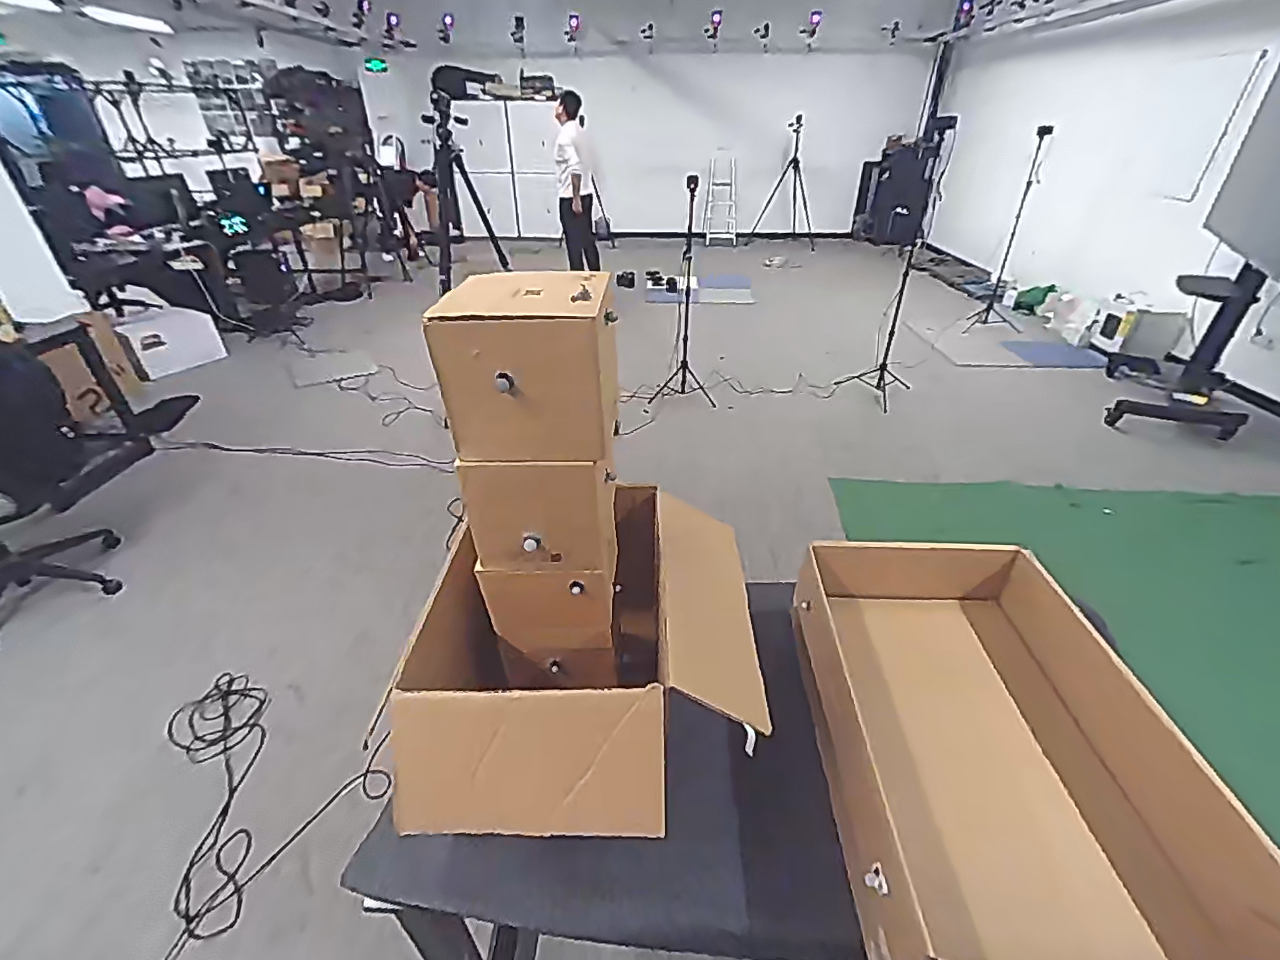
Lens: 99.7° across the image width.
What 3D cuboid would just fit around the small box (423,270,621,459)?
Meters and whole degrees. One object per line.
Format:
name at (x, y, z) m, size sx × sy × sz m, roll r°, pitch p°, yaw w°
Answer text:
small box at (-0.120, -0.135, 0.634) m, size 0.179 × 0.176 × 0.168 m, roll 0°, pitch 37°, yaw 3°

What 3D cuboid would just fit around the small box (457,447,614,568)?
small box at (-0.126, -0.003, 0.730) m, size 0.168 × 0.176 × 0.179 m, roll 0°, pitch 37°, yaw 3°
